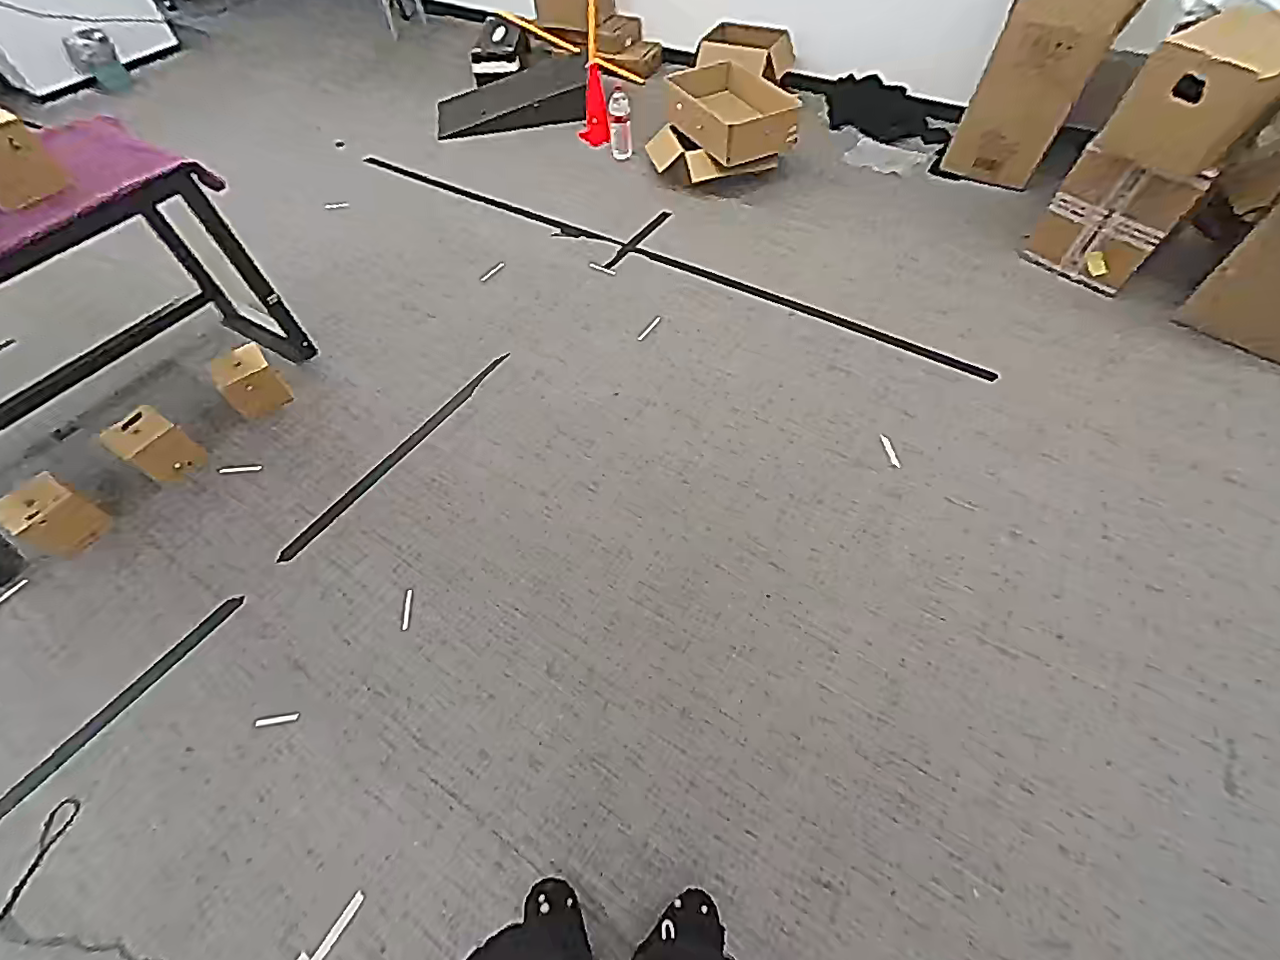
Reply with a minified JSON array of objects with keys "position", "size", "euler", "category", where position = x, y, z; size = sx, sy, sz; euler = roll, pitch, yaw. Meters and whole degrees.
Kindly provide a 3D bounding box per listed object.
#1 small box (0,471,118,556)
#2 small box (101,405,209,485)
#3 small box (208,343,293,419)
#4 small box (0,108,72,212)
[{"position":[-1.792,0.108,1.668],"size":[0.179,0.176,0.168],"euler":[28,62,20],"category":"small box"},{"position":[-1.611,-0.112,1.807],"size":[0.179,0.176,0.168],"euler":[27,62,18],"category":"small box"},{"position":[-1.404,-0.357,1.964],"size":[0.179,0.176,0.168],"euler":[-36,62,-19],"category":"small box"},{"position":[-1.668,-0.841,1.420],"size":[0.168,0.176,0.179],"euler":[29,62,21],"category":"small box"}]
